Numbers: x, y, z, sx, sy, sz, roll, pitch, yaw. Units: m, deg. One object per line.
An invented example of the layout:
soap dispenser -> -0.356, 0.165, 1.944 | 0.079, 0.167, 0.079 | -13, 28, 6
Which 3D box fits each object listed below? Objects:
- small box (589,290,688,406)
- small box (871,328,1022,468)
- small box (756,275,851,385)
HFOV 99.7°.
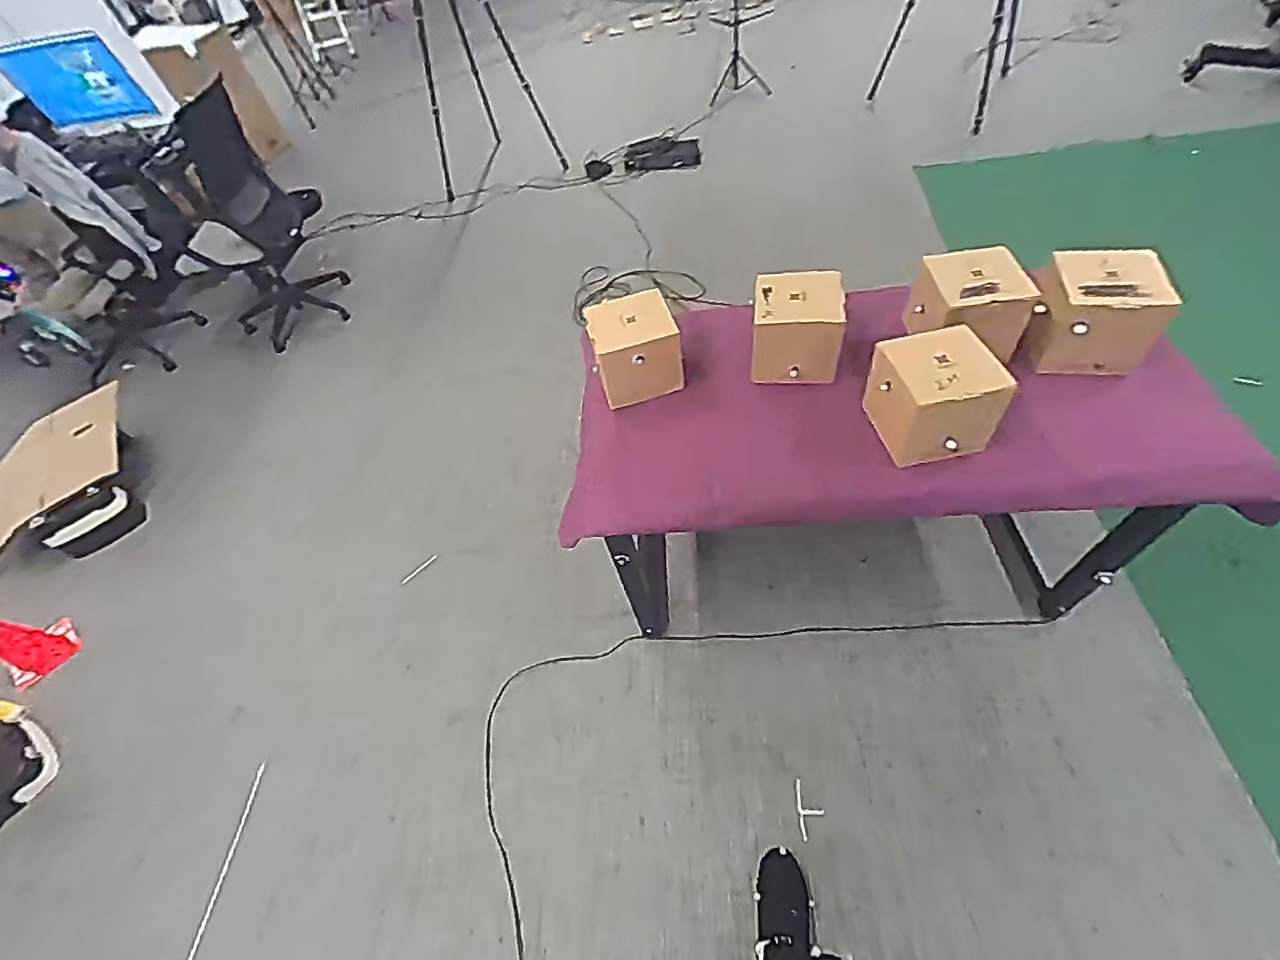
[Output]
small box -> 0.000, -0.289, 1.208 | 0.179, 0.176, 0.168 | -15, 54, -2
small box -> 0.548, -0.149, 1.001 | 0.168, 0.176, 0.179 | -11, 52, 3
small box -> 0.347, -0.321, 1.168 | 0.179, 0.176, 0.168 | 3, 55, 12
